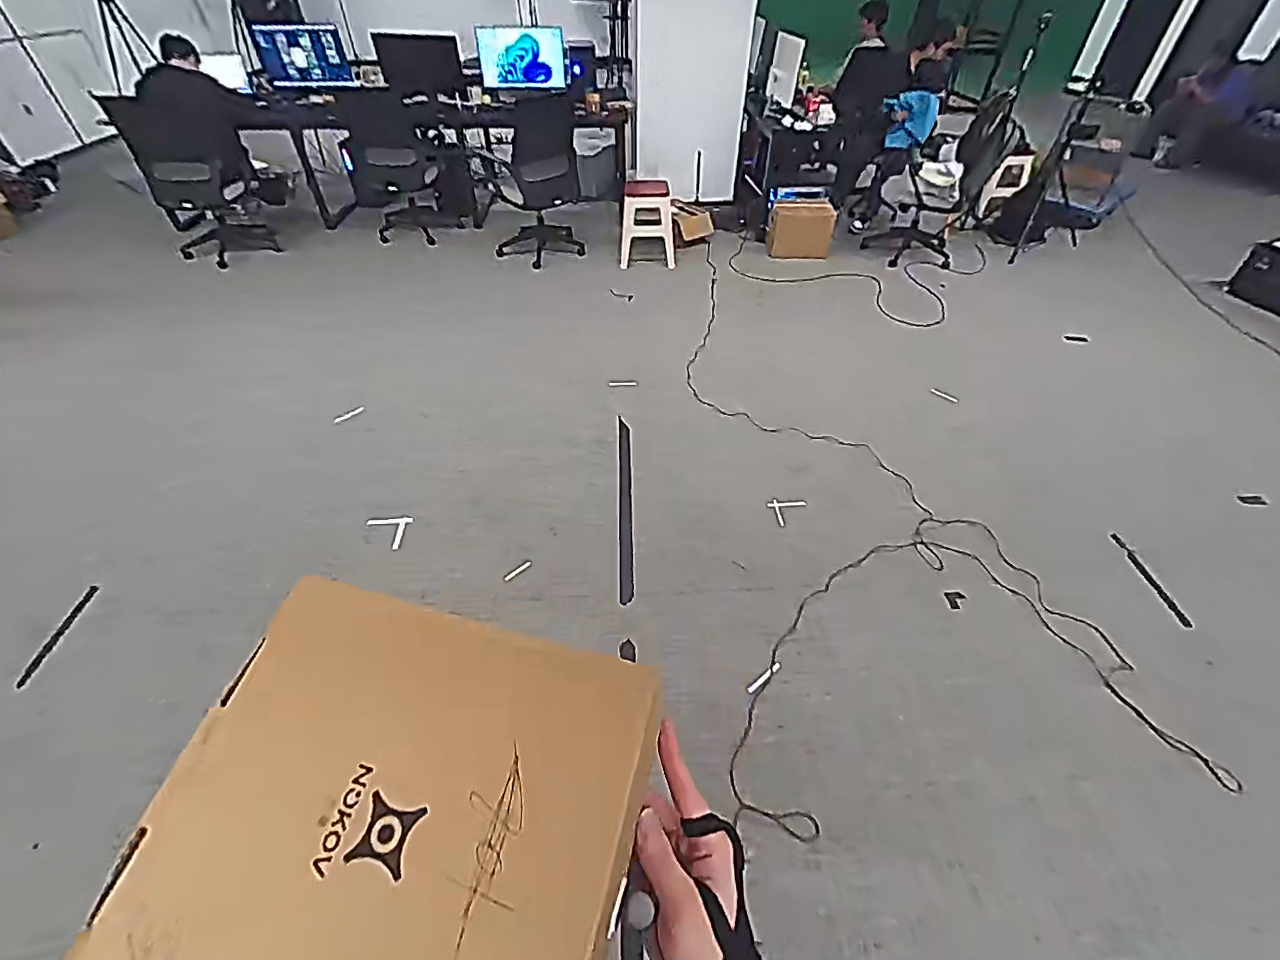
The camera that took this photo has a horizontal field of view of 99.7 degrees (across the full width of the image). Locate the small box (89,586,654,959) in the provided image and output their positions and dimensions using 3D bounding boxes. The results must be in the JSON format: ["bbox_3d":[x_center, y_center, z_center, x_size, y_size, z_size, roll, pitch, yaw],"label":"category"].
[{"bbox_3d":[-0.095,0.177,0.282,0.179,0.176,0.168,12,61,9],"label":"small box"}]
